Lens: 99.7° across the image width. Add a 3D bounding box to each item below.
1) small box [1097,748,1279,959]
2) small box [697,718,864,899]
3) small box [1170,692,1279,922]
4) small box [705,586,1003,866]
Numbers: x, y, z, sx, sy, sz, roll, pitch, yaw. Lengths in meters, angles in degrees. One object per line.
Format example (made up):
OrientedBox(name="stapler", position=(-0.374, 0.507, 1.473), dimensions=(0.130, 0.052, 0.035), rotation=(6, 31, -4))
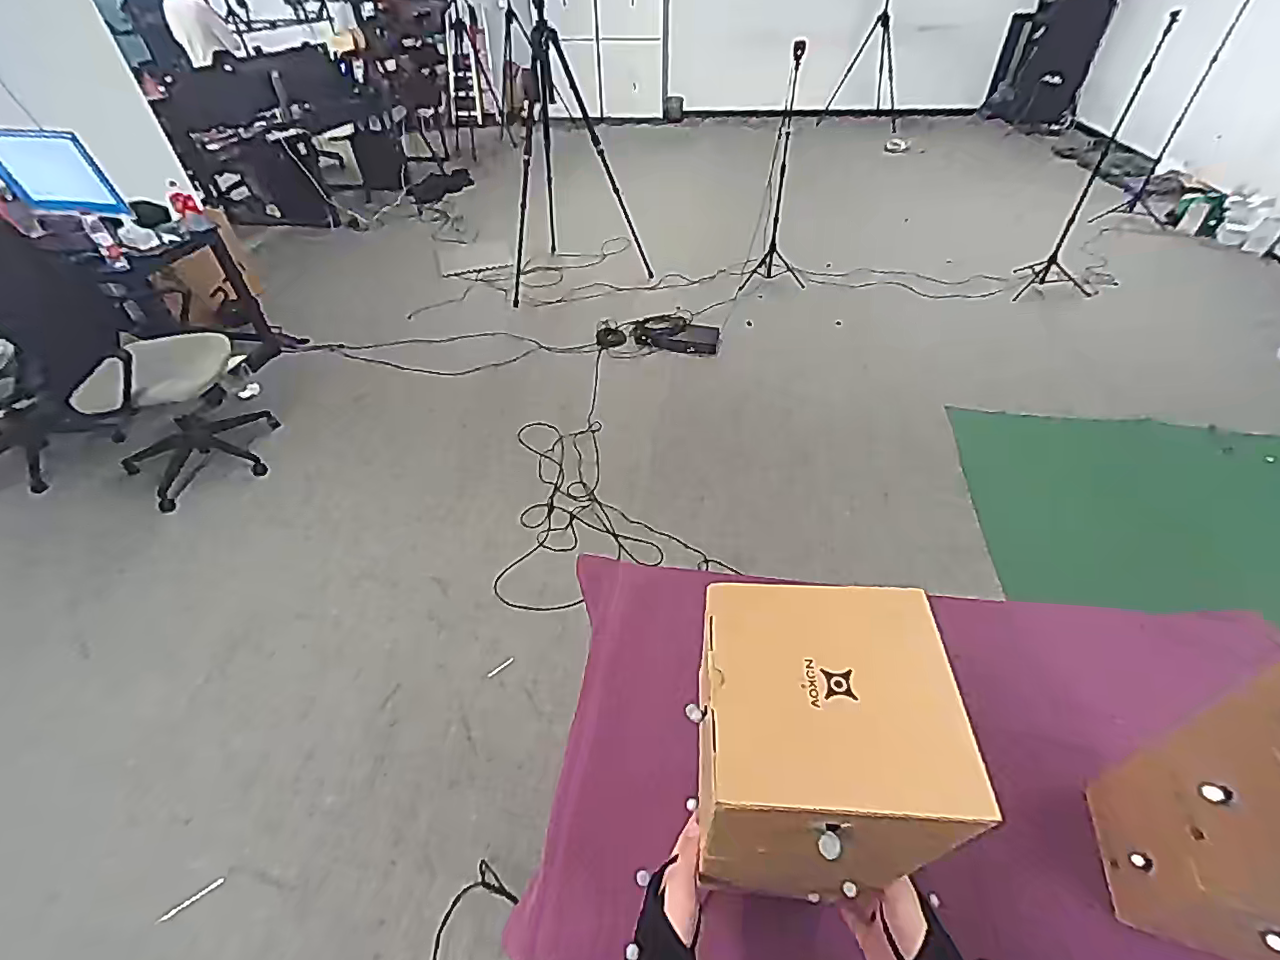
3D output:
OrientedBox(name="small box", position=(0.709, 0.468, 0.663), dimensions=(0.179, 0.176, 0.168), rotation=(13, 45, 14))
OrientedBox(name="small box", position=(0.165, 0.419, 0.692), dimensions=(0.179, 0.176, 0.168), rotation=(2, 46, 6))
OrientedBox(name="small box", position=(0.704, 0.349, 0.551), dimensions=(0.179, 0.176, 0.168), rotation=(10, 45, 14))
OrientedBox(name="small box", position=(0.145, 0.204, 0.445), dimensions=(0.179, 0.176, 0.168), rotation=(0, 47, 5))
